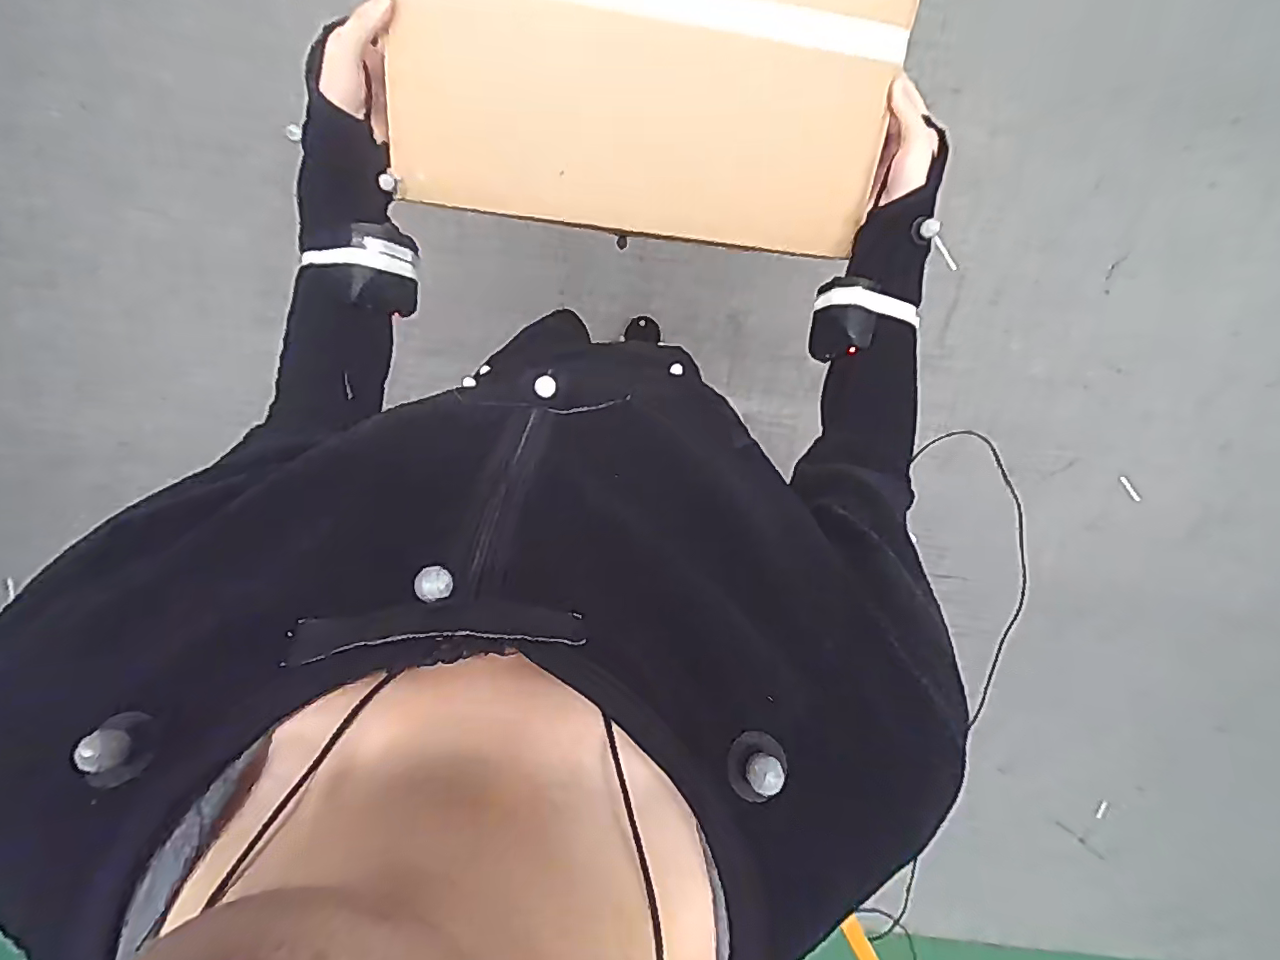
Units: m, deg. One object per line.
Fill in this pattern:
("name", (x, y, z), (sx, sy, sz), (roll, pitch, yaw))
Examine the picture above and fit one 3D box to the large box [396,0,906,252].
("large box", (0.002, -0.427, 0.559), (0.408, 0.320, 0.320), (4, 113, -7))
